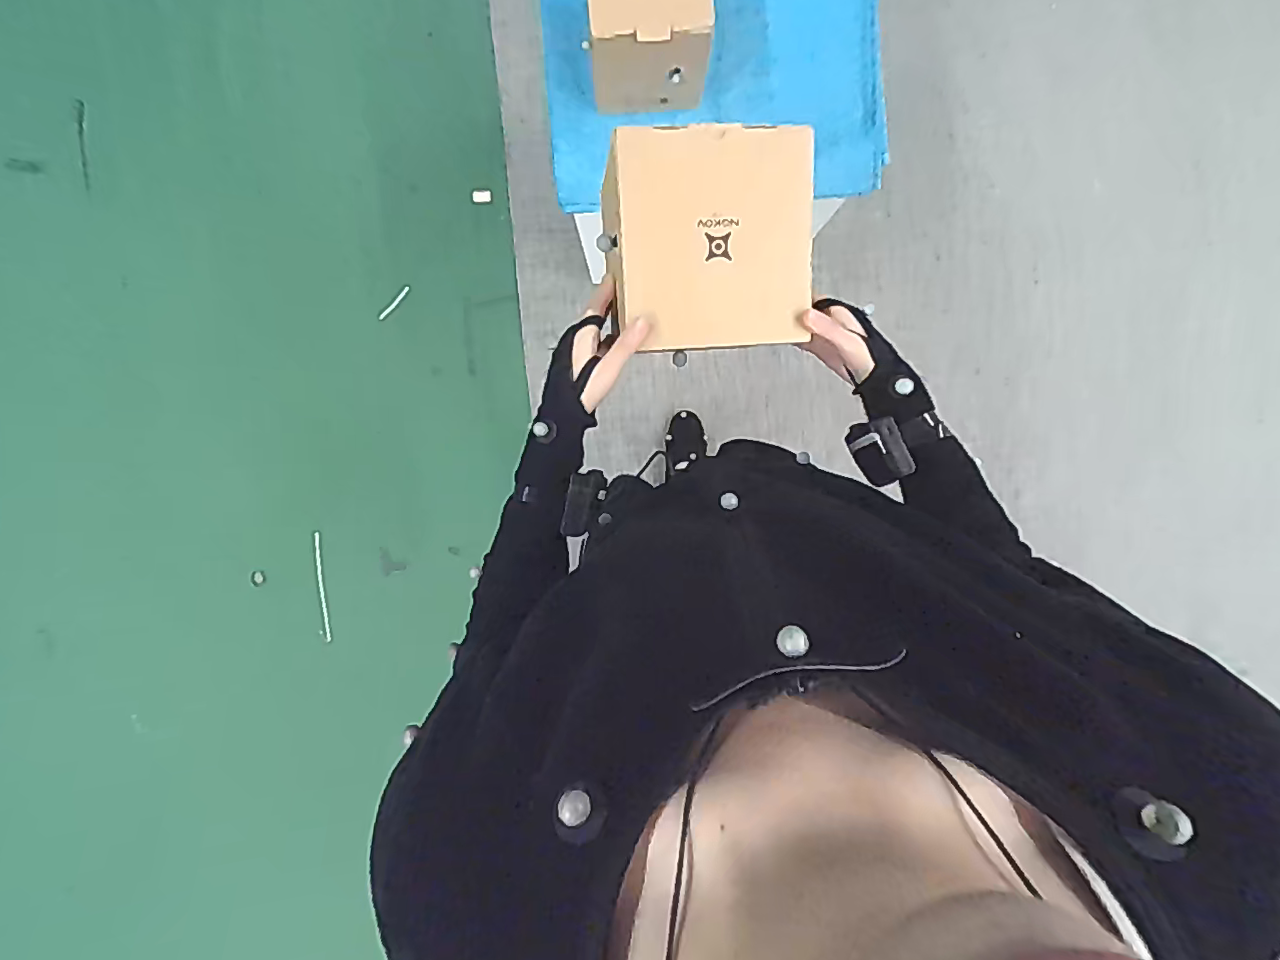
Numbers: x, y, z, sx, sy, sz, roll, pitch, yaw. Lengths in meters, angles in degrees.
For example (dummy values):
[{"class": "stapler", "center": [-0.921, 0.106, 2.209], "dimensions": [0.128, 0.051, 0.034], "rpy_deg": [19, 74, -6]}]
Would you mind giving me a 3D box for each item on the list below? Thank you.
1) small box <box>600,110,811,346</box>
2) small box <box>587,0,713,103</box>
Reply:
[{"class": "small box", "center": [0.050, -0.222, 0.521], "dimensions": [0.168, 0.176, 0.179], "rpy_deg": [-4, 101, -7]}, {"class": "small box", "center": [0.011, -0.674, 0.773], "dimensions": [0.168, 0.176, 0.179], "rpy_deg": [-3, 93, -1]}]
